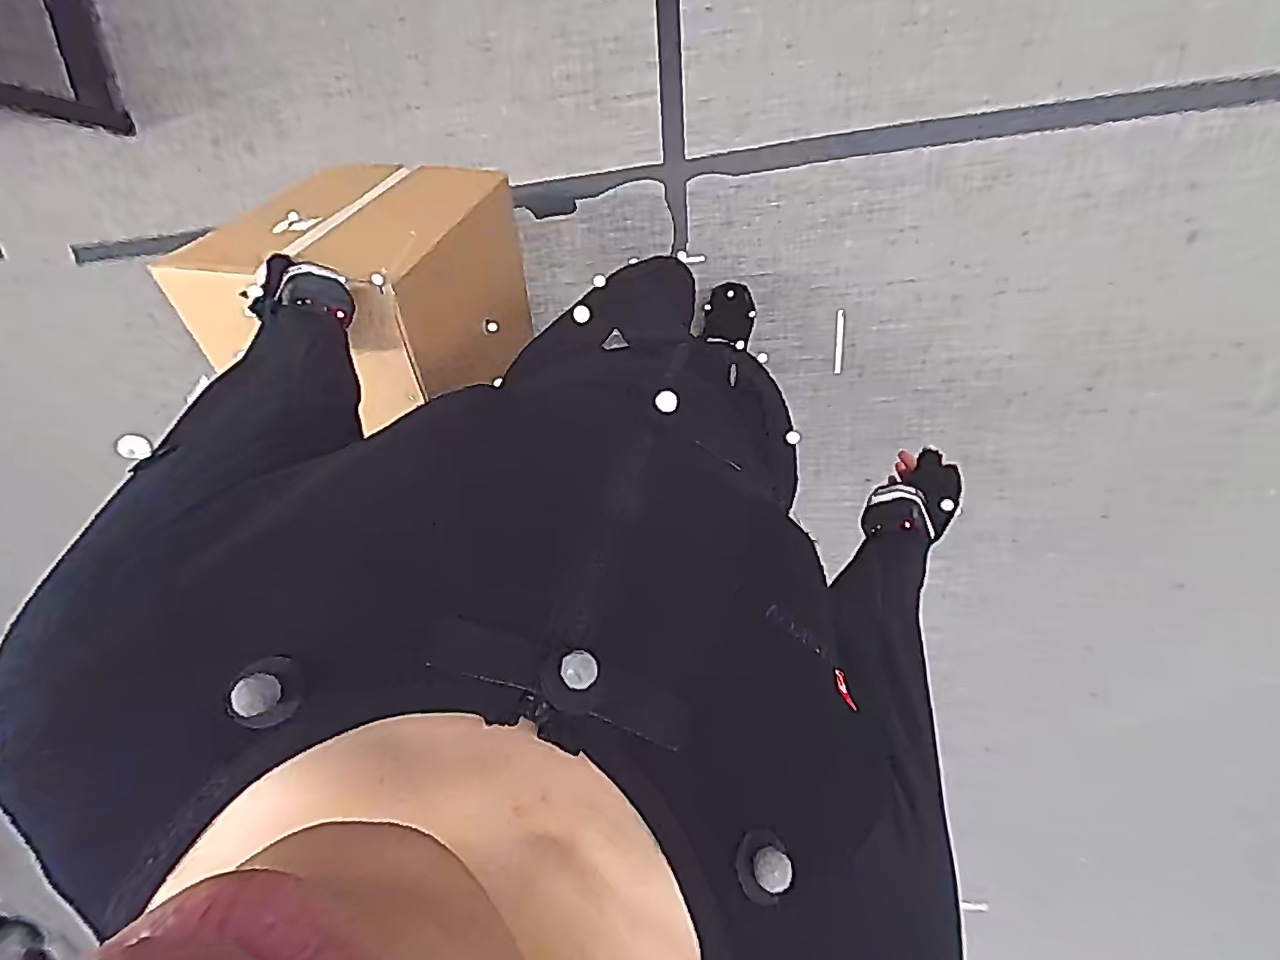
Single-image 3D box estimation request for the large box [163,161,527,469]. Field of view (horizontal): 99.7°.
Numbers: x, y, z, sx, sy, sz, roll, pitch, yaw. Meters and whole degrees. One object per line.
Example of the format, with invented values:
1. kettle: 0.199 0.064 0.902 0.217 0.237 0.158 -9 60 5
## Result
1. large box: -0.404 -0.279 0.883 0.320 0.408 0.320 8 137 7
